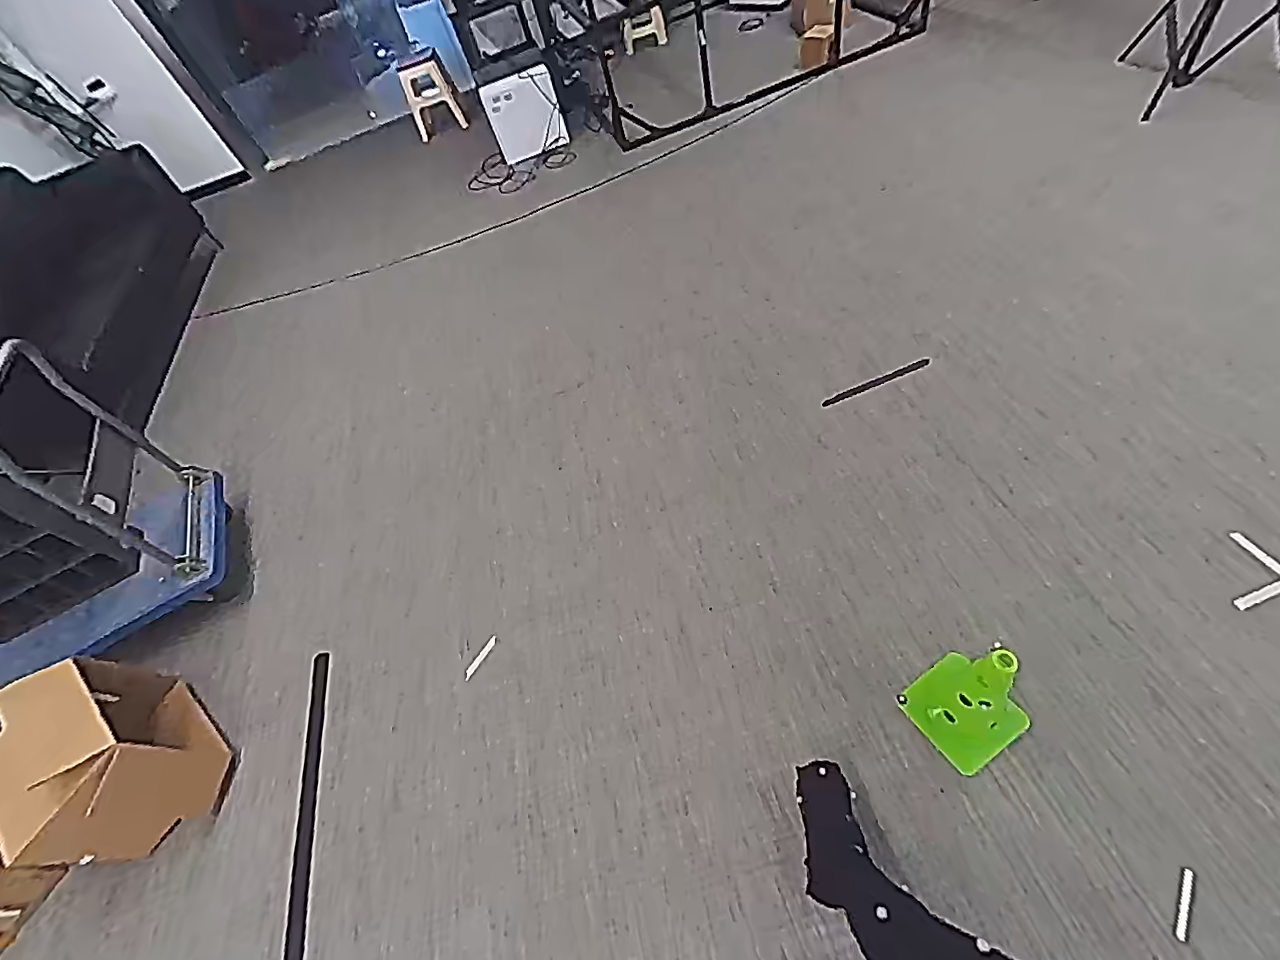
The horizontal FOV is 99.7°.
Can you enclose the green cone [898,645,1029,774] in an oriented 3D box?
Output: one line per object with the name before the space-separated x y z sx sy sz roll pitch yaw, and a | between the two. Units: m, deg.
green cone | 0.683 0.416 1.076 0.202 0.368 0.200 -33 53 -10
